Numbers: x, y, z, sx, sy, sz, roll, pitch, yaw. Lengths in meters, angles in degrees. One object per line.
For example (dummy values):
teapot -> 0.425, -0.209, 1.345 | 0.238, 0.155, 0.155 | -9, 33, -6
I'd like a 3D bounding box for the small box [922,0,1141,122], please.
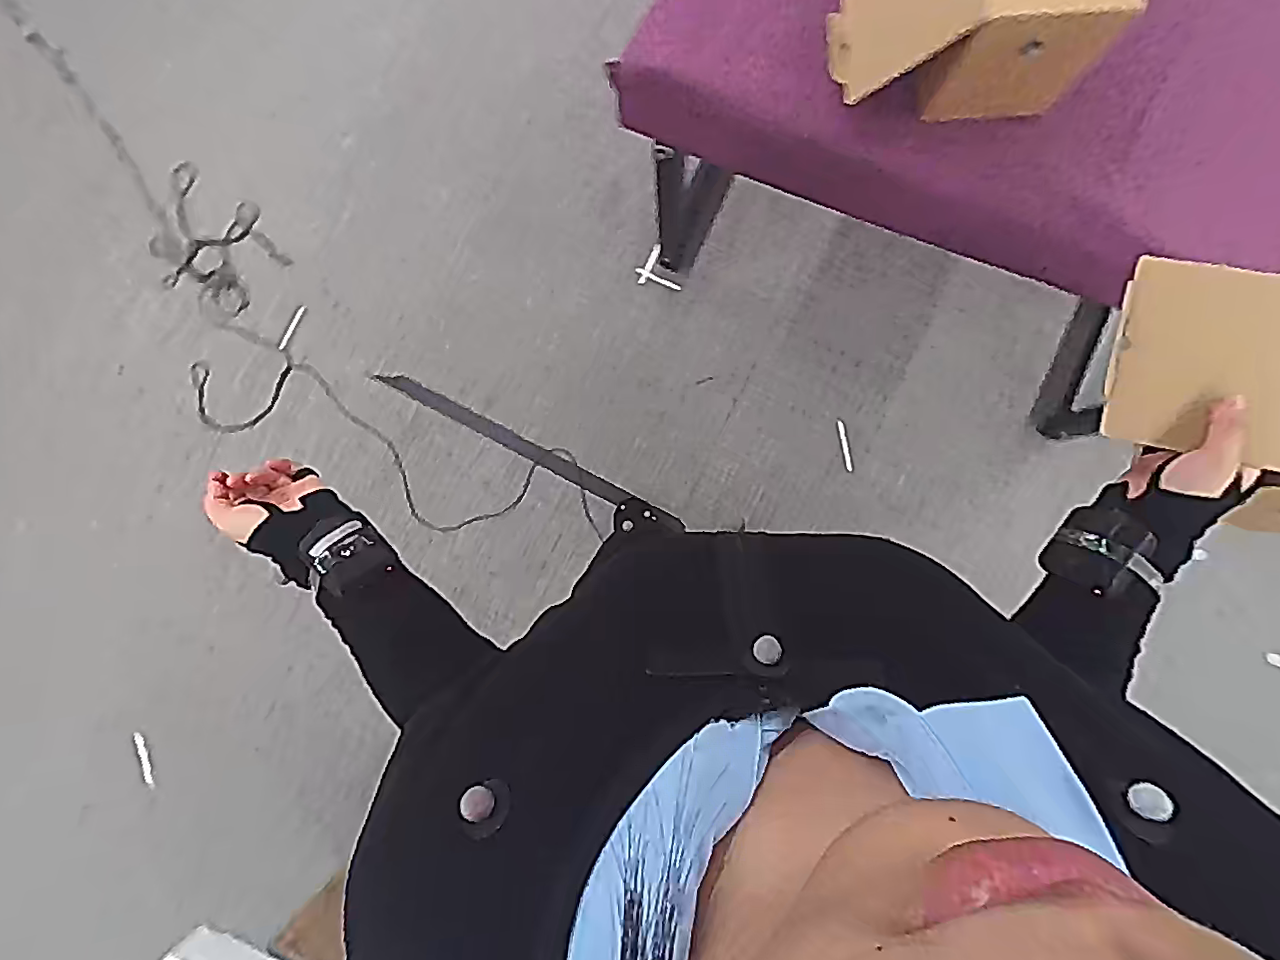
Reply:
small box -> 0.487, -0.601, 0.704 | 0.179, 0.176, 0.168 | -1, 86, 3
